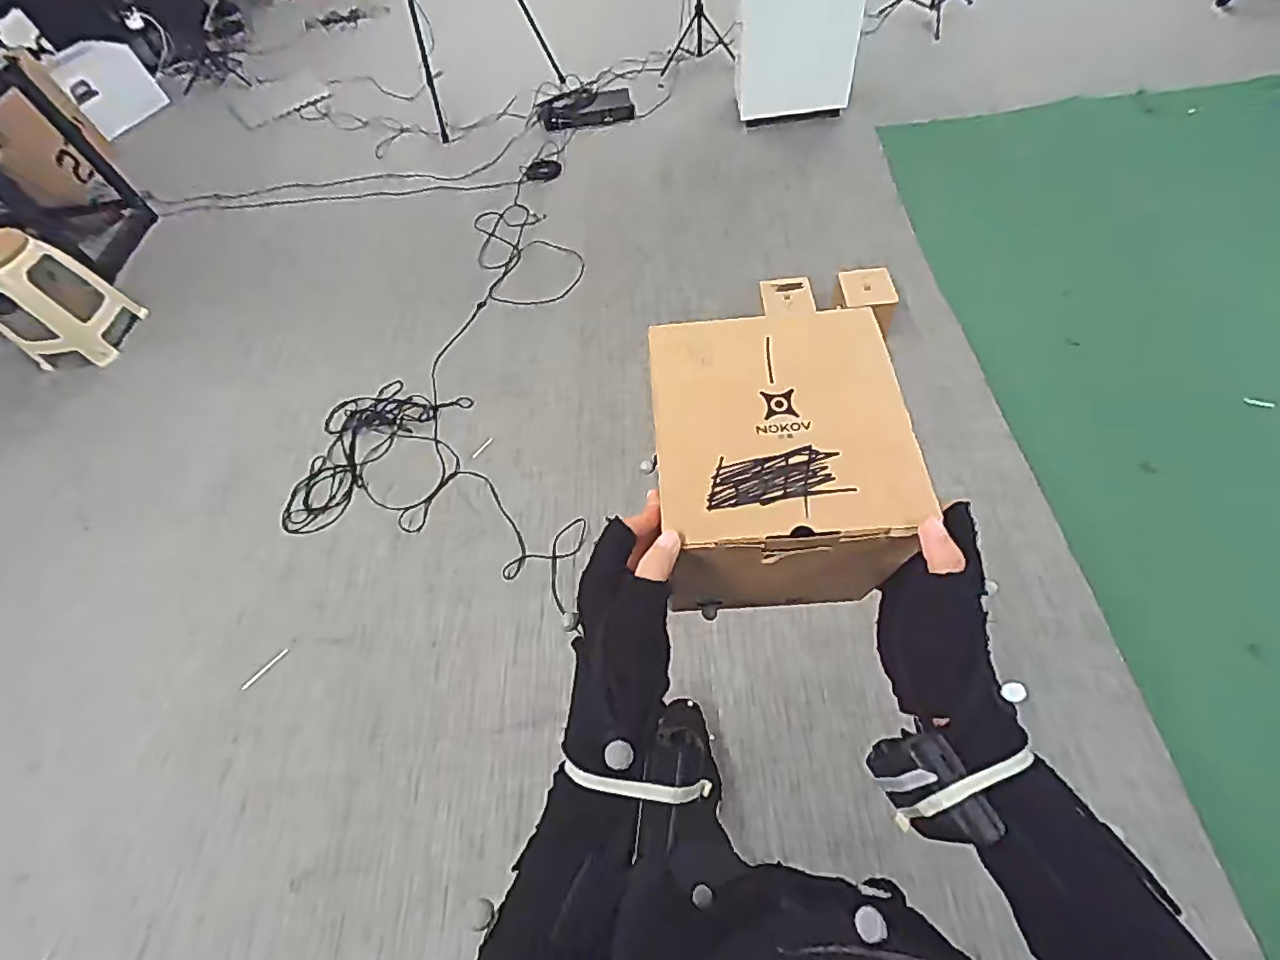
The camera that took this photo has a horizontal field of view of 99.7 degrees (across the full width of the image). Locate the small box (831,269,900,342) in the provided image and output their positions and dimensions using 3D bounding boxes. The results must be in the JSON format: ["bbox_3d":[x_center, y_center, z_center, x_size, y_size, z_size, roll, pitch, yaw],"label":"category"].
[{"bbox_3d":[0.768,-0.592,1.857,0.168,0.176,0.179,-4,58,5],"label":"small box"}]
